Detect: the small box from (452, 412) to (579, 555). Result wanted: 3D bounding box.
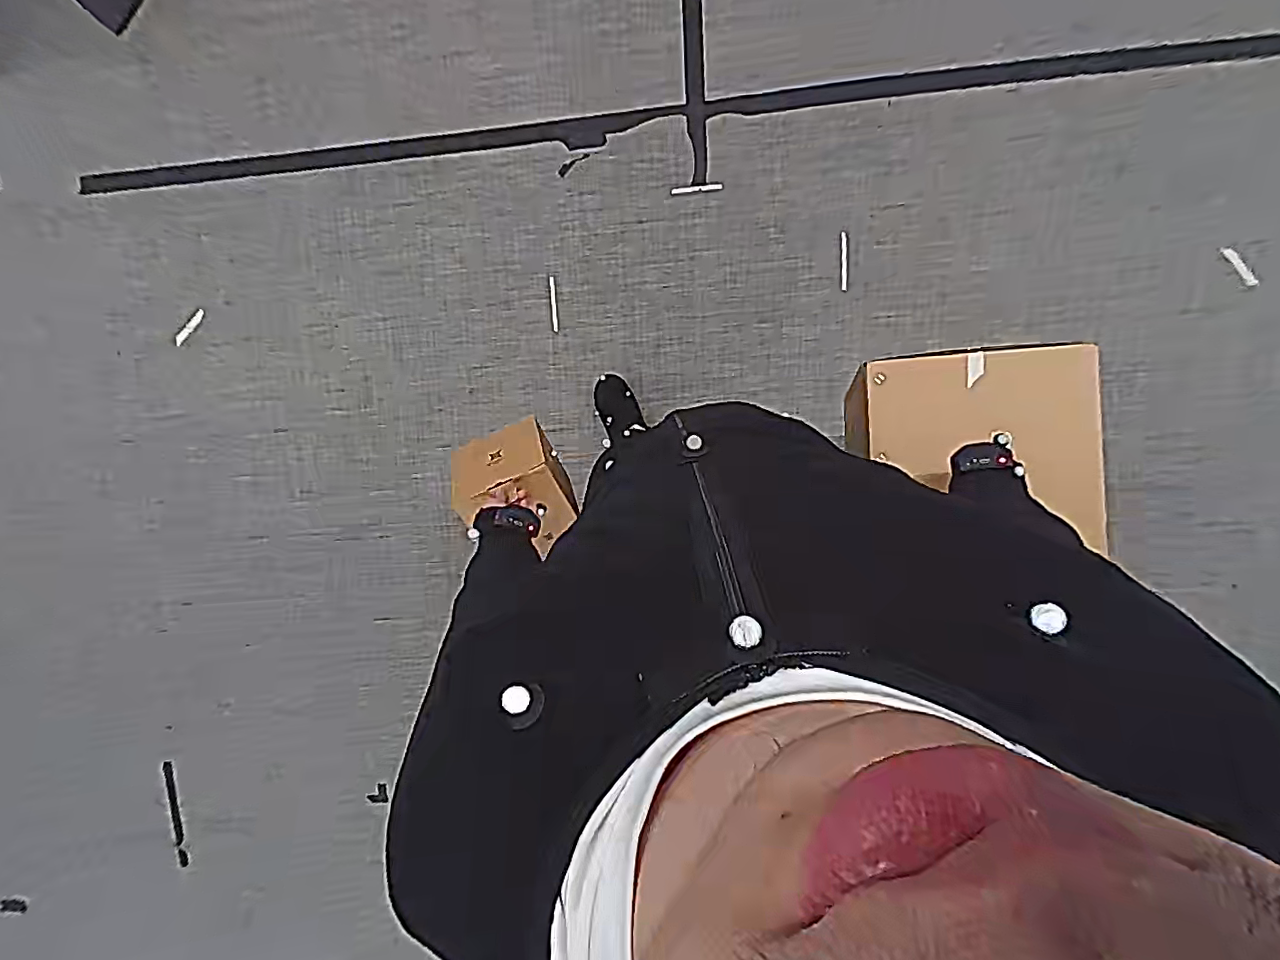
[{"bbox_3d":[-0.224,0.013,0.983,0.168,0.179,0.176,-24,128,-1],"label":"small box"}]
